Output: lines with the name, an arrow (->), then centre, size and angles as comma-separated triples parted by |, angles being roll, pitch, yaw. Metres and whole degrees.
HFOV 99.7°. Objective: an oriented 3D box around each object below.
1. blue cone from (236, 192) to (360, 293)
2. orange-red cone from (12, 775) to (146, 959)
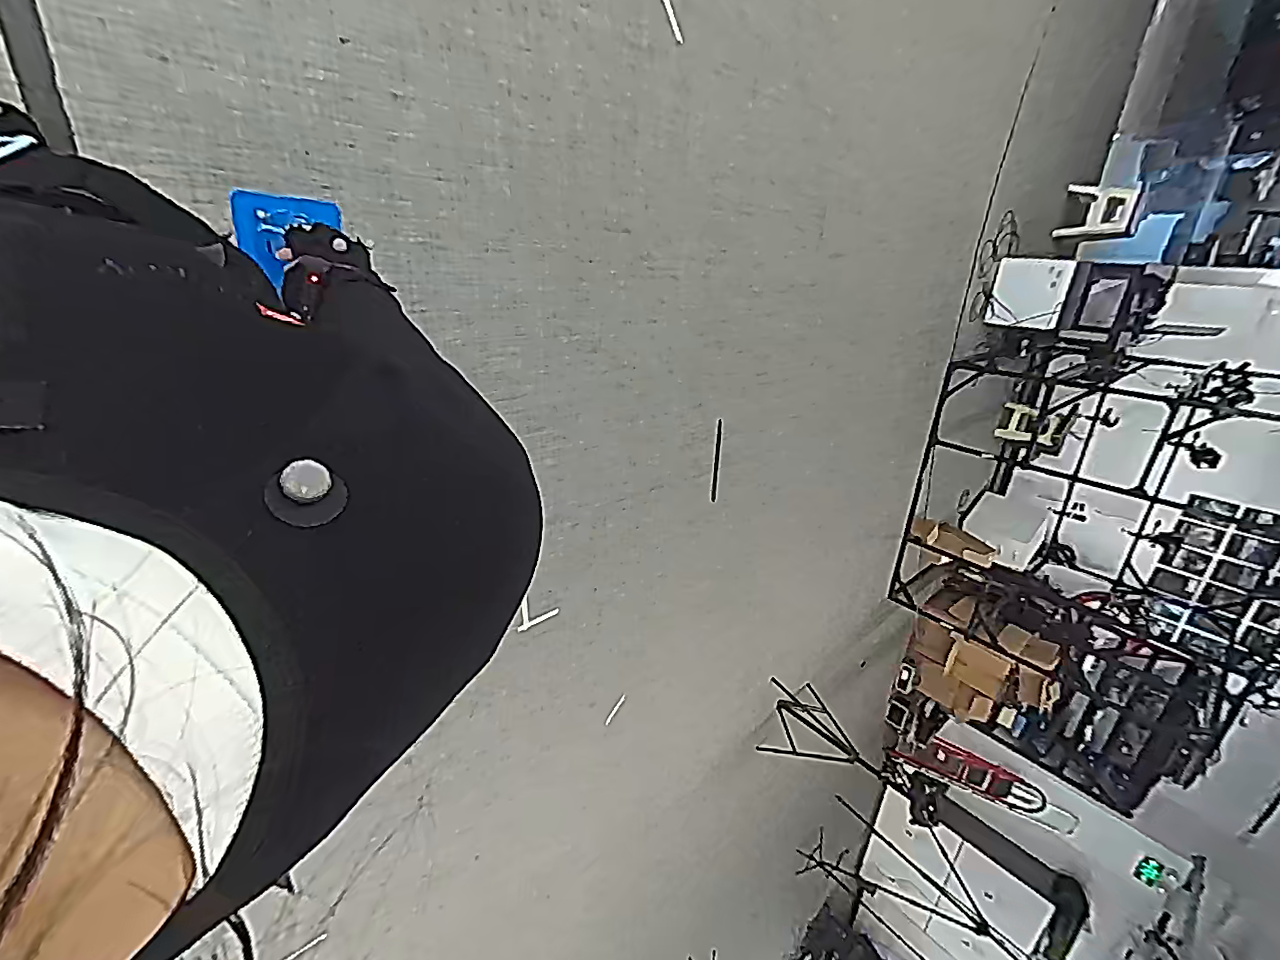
blue cone -> -0.634, -0.452, 1.050 | 0.192, 0.380, 0.193 | -12, 117, -41
orange-red cone -> -1.164, 0.842, 1.119 | 0.199, 0.360, 0.198 | -10, 114, -40
